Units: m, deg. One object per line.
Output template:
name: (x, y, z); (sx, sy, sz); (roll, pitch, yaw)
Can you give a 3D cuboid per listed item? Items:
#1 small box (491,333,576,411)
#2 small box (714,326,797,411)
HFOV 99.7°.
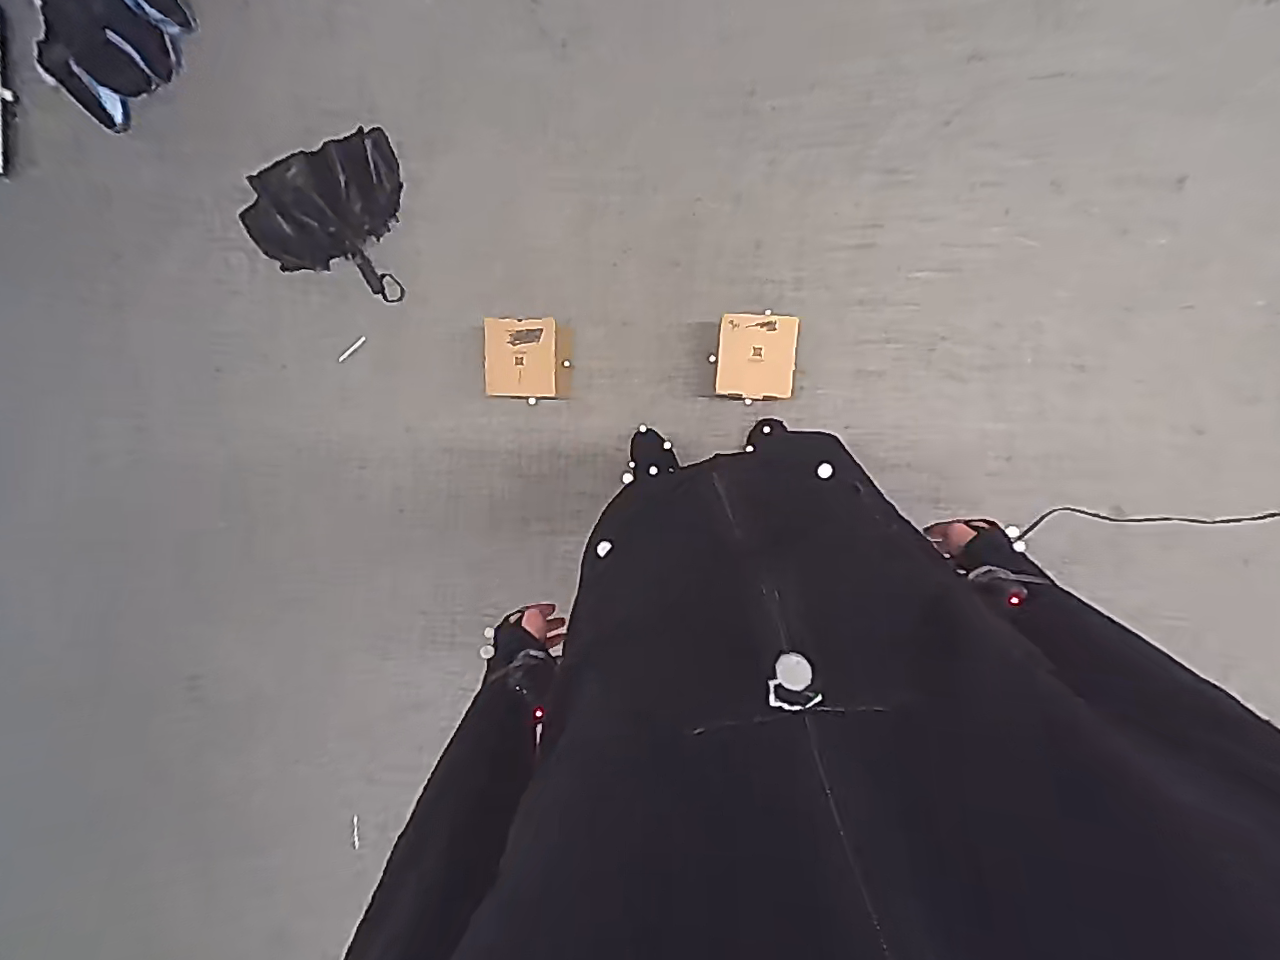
small box: (-0.255, -0.260, 1.325); (0.168, 0.176, 0.179); (2, 98, 7)
small box: (0.264, -0.256, 1.264); (0.168, 0.176, 0.179); (4, 98, 6)
